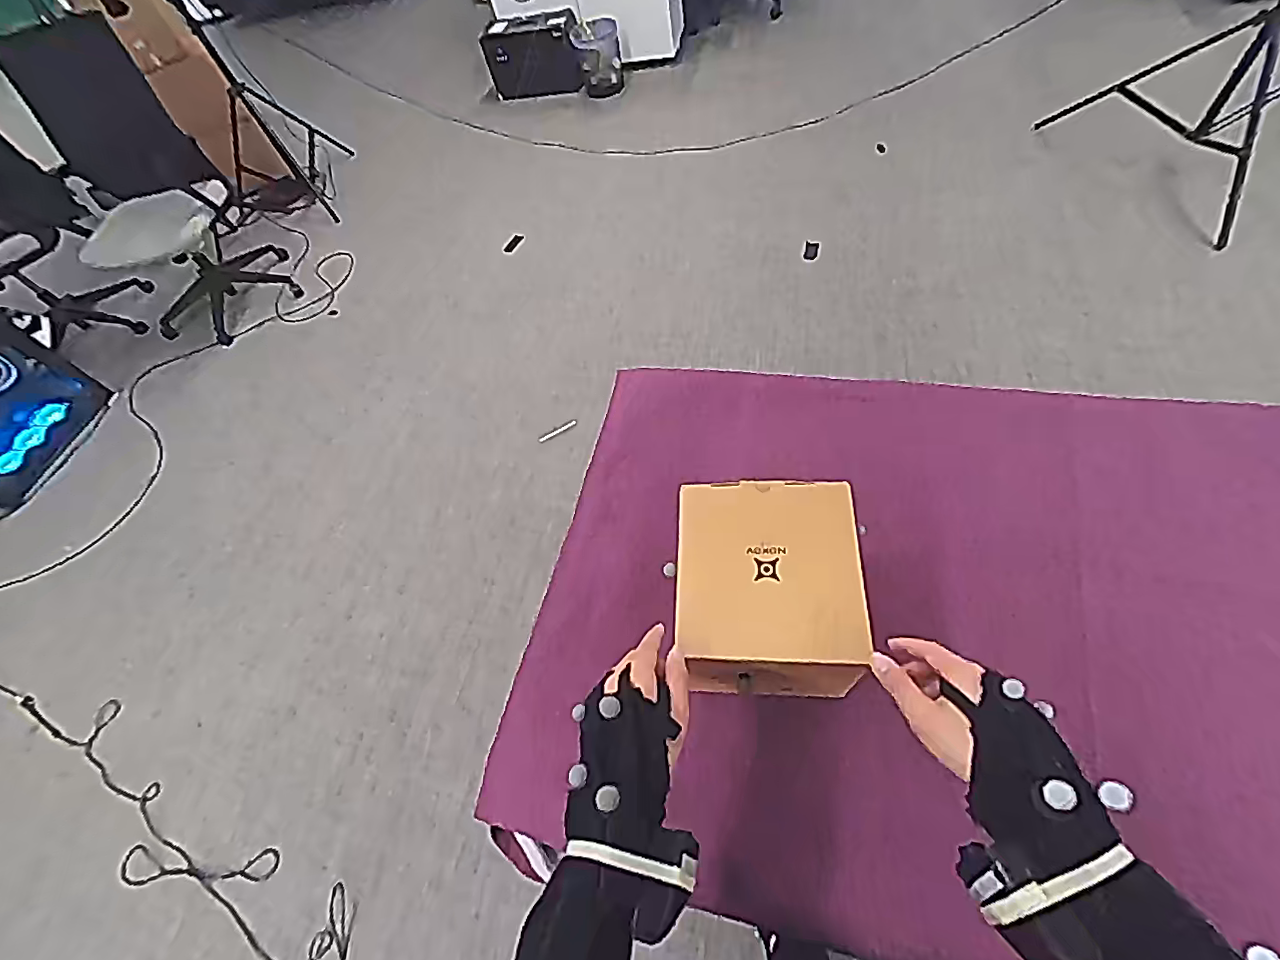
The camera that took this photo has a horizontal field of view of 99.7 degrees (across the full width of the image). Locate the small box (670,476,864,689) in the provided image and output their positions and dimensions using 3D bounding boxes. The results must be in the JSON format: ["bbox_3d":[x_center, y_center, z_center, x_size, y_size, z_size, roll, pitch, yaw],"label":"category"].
[{"bbox_3d":[0.126,0.114,0.566,0.168,0.176,0.179,-2,58,10],"label":"small box"}]
